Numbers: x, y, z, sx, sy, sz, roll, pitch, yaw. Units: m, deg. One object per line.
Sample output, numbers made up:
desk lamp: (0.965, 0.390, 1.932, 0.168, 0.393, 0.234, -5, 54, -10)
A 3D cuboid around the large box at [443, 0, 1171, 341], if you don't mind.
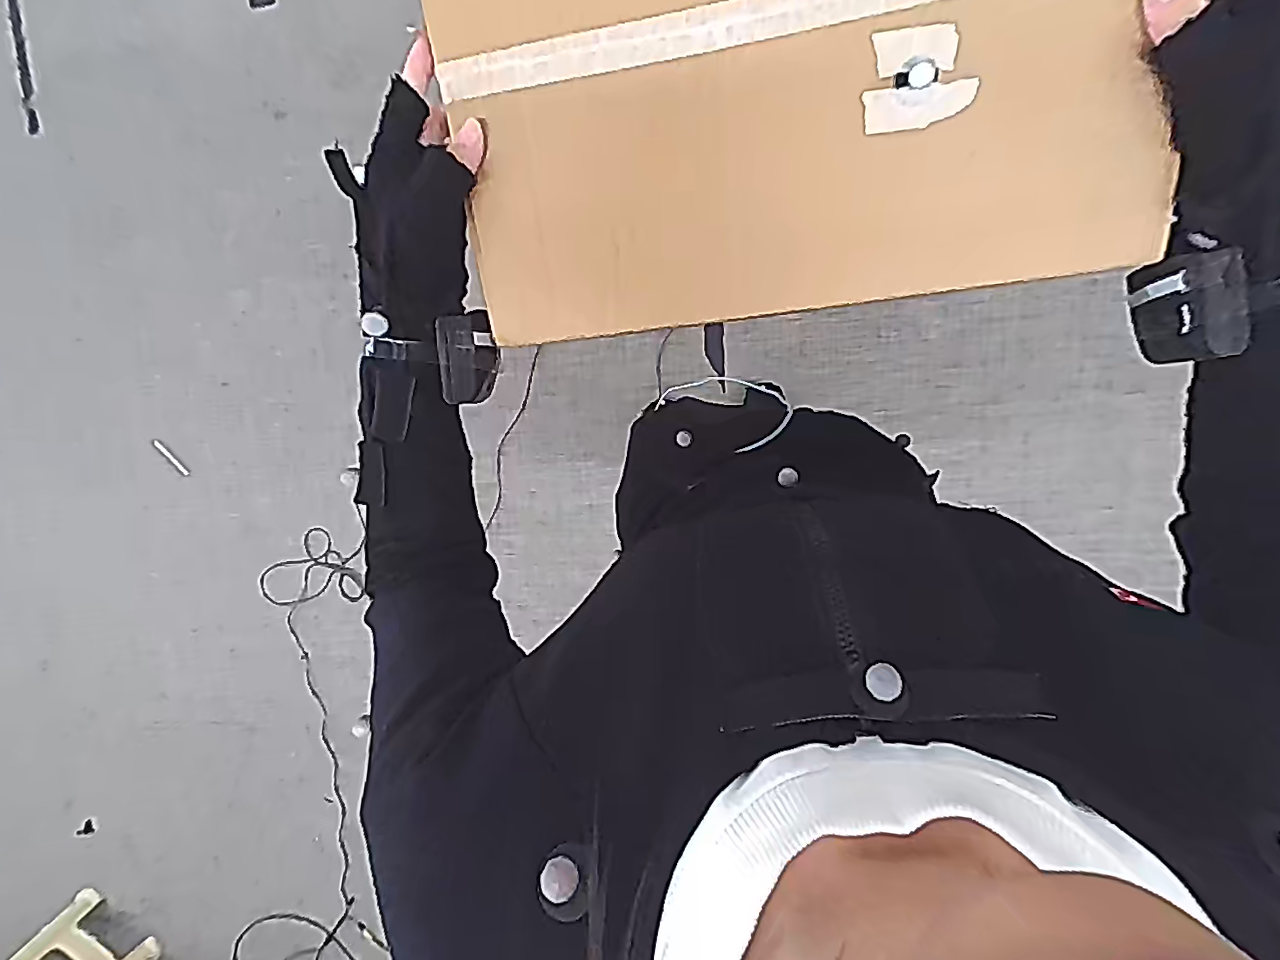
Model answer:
large box: (0.097, -0.308, 0.449, 0.408, 0.320, 0.320, -6, 107, 8)
